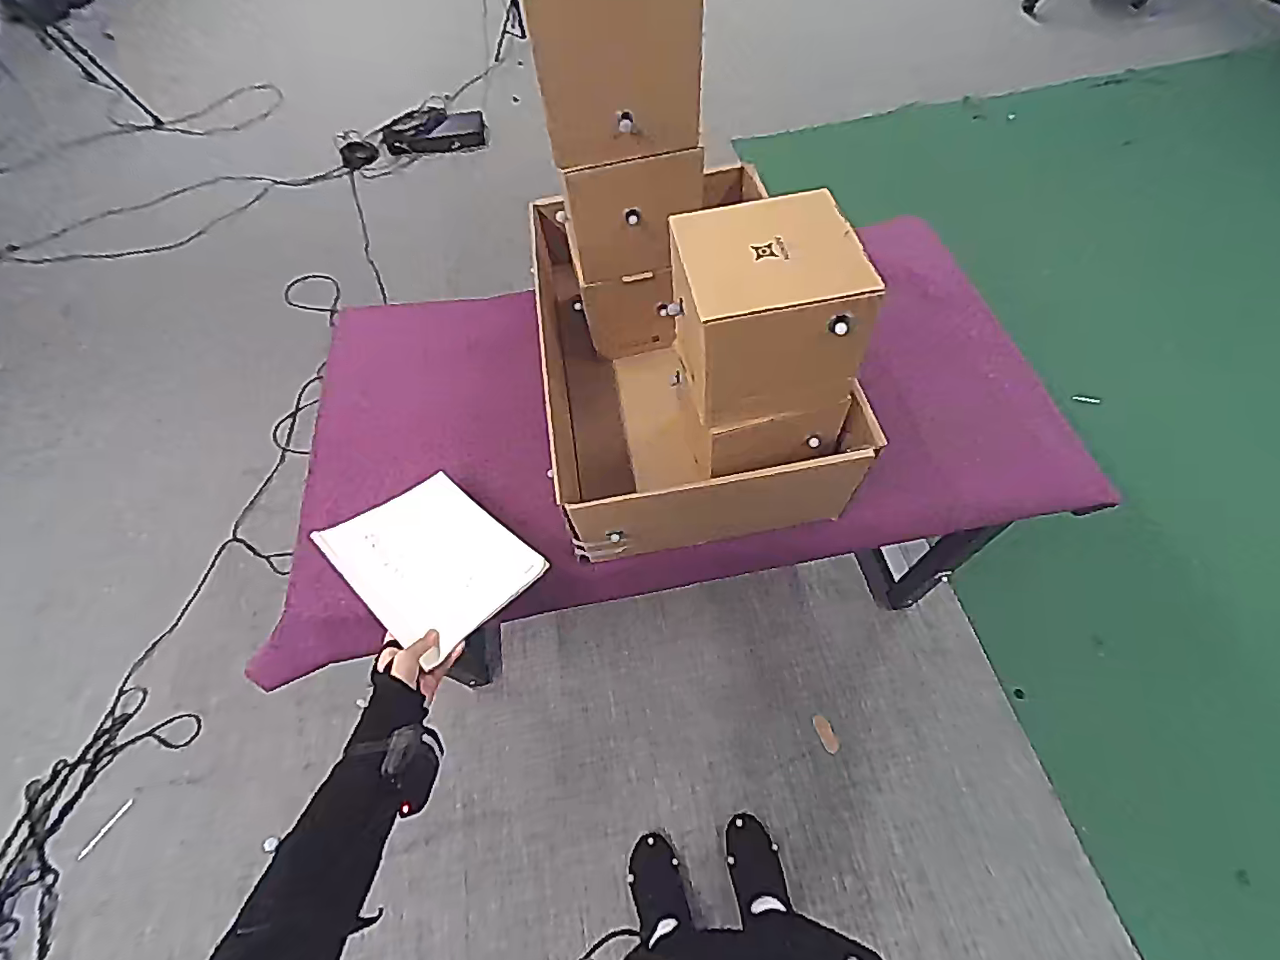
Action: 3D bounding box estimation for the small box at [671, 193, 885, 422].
[{"bbox_3d":[0.136,-0.184,0.604,0.179,0.176,0.168,-10,58,-1],"label":"small box"}]

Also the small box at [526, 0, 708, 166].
[{"bbox_3d":[-0.030,-0.487,0.608,0.179,0.176,0.168,-10,60,-3],"label":"small box"}]

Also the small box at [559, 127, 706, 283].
[{"bbox_3d":[-0.017,-0.405,0.750,0.179,0.176,0.168,-13,61,-3],"label":"small box"}]
